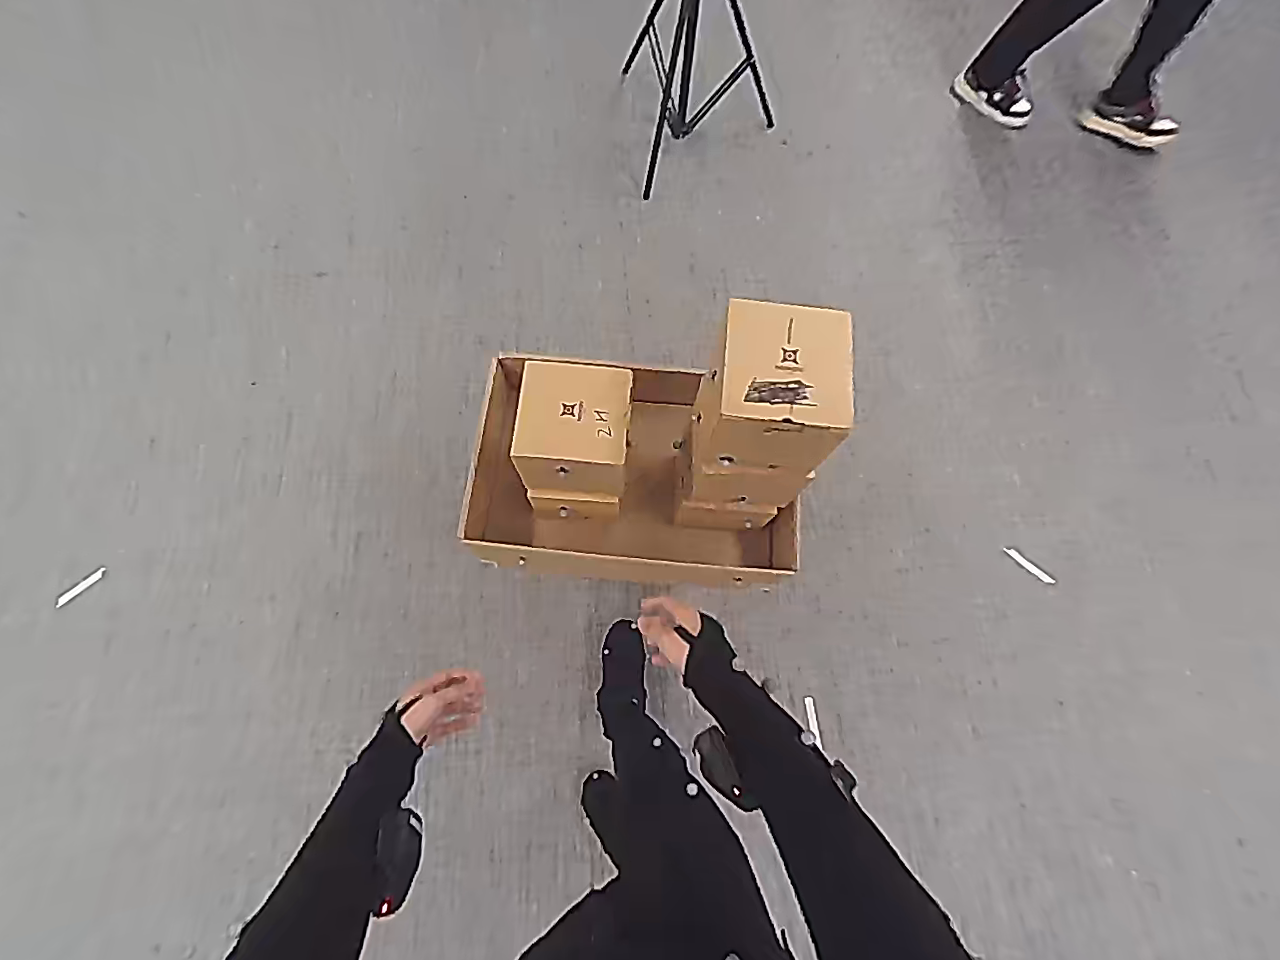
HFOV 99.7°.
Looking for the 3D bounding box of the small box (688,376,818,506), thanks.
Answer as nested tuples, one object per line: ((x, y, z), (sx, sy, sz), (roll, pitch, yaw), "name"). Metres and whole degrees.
((0.180, -0.057, 0.904), (0.179, 0.176, 0.168), (3, 72, -2), "small box")

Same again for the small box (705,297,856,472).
((0.186, -0.123, 0.751), (0.168, 0.176, 0.179), (7, 71, 0), "small box")

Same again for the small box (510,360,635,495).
((-0.104, -0.080, 0.904), (0.179, 0.176, 0.168), (6, 72, -1), "small box")

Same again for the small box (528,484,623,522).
((-0.115, -0.021, 1.057), (0.168, 0.176, 0.179), (4, 71, -2), "small box")
